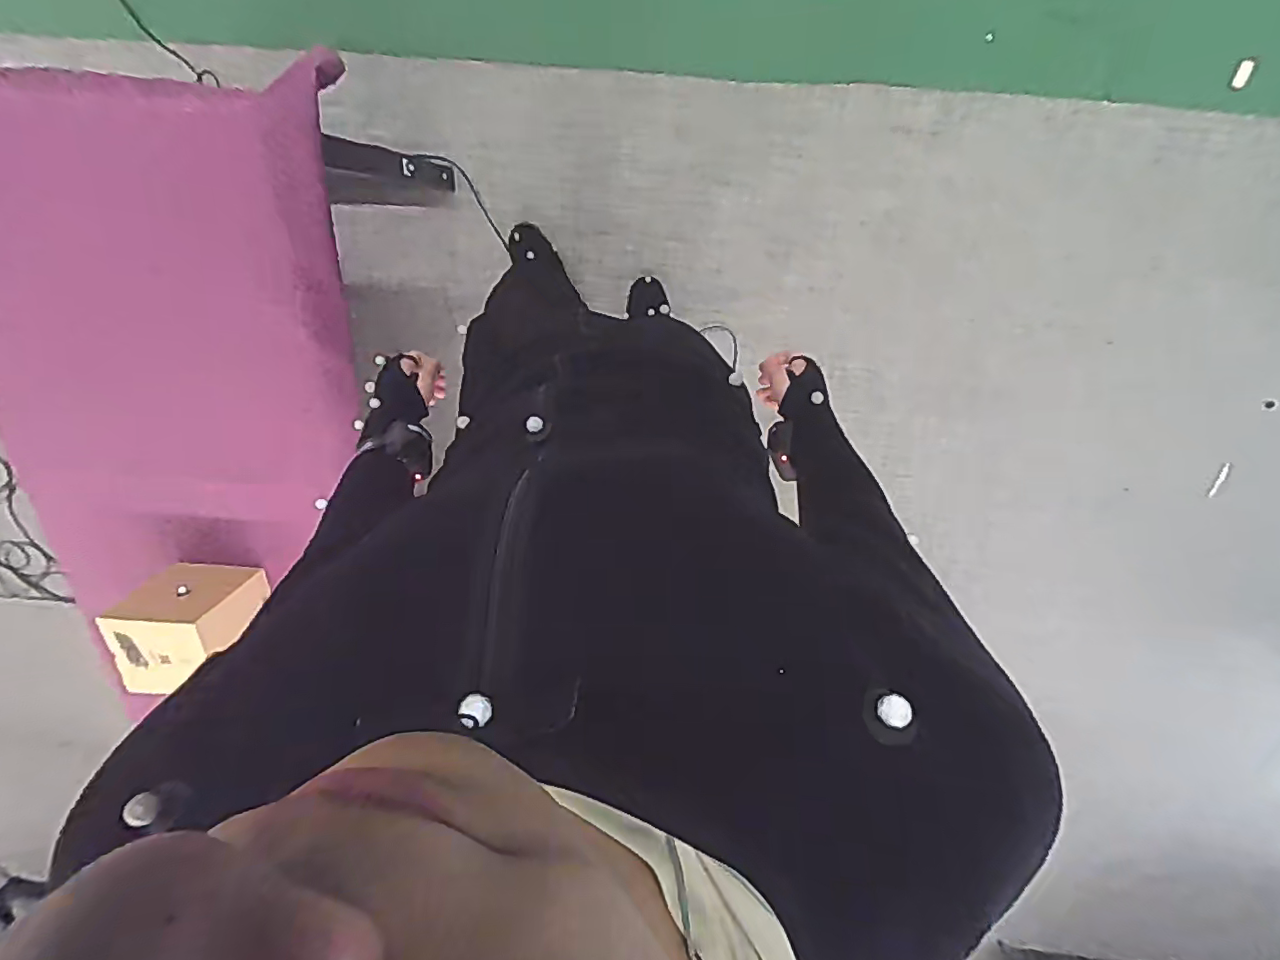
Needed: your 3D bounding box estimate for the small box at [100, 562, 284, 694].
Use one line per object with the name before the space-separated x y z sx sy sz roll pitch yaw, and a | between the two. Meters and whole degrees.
small box | -0.810 0.265 0.998 0.179 0.176 0.168 3 115 2
